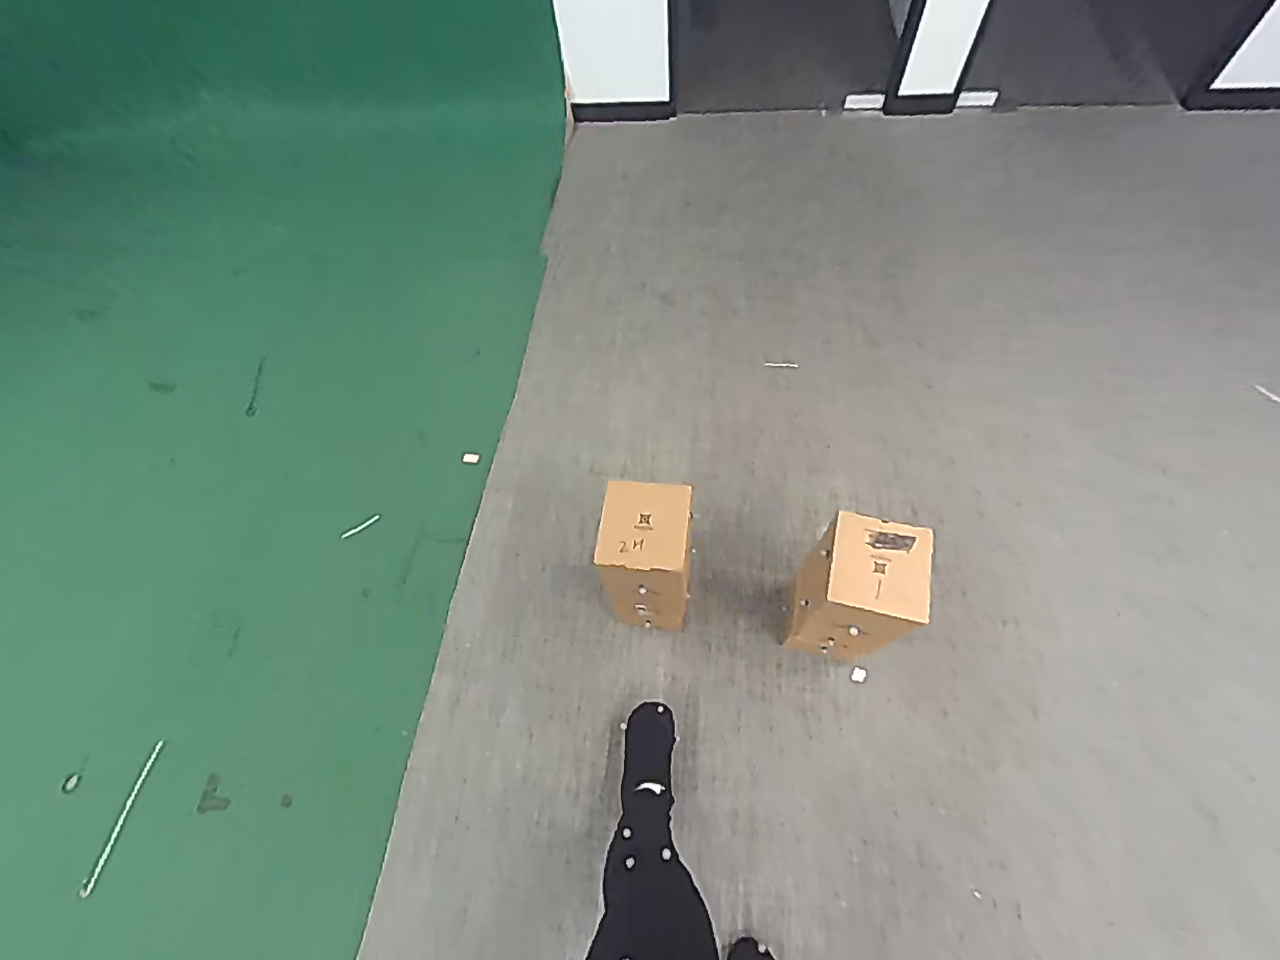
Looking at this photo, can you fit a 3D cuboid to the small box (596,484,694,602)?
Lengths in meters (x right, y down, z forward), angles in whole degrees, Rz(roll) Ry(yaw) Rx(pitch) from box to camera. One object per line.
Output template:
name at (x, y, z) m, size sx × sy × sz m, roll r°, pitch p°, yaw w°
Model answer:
small box at (0.018, 0.128, 1.079) m, size 0.168 × 0.176 × 0.179 m, roll 4°, pitch 63°, yaw 9°

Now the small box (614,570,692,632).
small box at (0.039, 0.276, 1.371) m, size 0.168 × 0.176 × 0.179 m, roll 8°, pitch 64°, yaw 9°

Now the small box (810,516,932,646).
small box at (0.424, 0.192, 1.011) m, size 0.168 × 0.176 × 0.179 m, roll 12°, pitch 66°, yaw 11°

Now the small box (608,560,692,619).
small box at (0.030, 0.202, 1.226) m, size 0.168 × 0.176 × 0.179 m, roll 4°, pitch 64°, yaw 8°

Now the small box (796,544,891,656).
small box at (0.439, 0.261, 1.160) m, size 0.168 × 0.176 × 0.179 m, roll 11°, pitch 64°, yaw 11°
